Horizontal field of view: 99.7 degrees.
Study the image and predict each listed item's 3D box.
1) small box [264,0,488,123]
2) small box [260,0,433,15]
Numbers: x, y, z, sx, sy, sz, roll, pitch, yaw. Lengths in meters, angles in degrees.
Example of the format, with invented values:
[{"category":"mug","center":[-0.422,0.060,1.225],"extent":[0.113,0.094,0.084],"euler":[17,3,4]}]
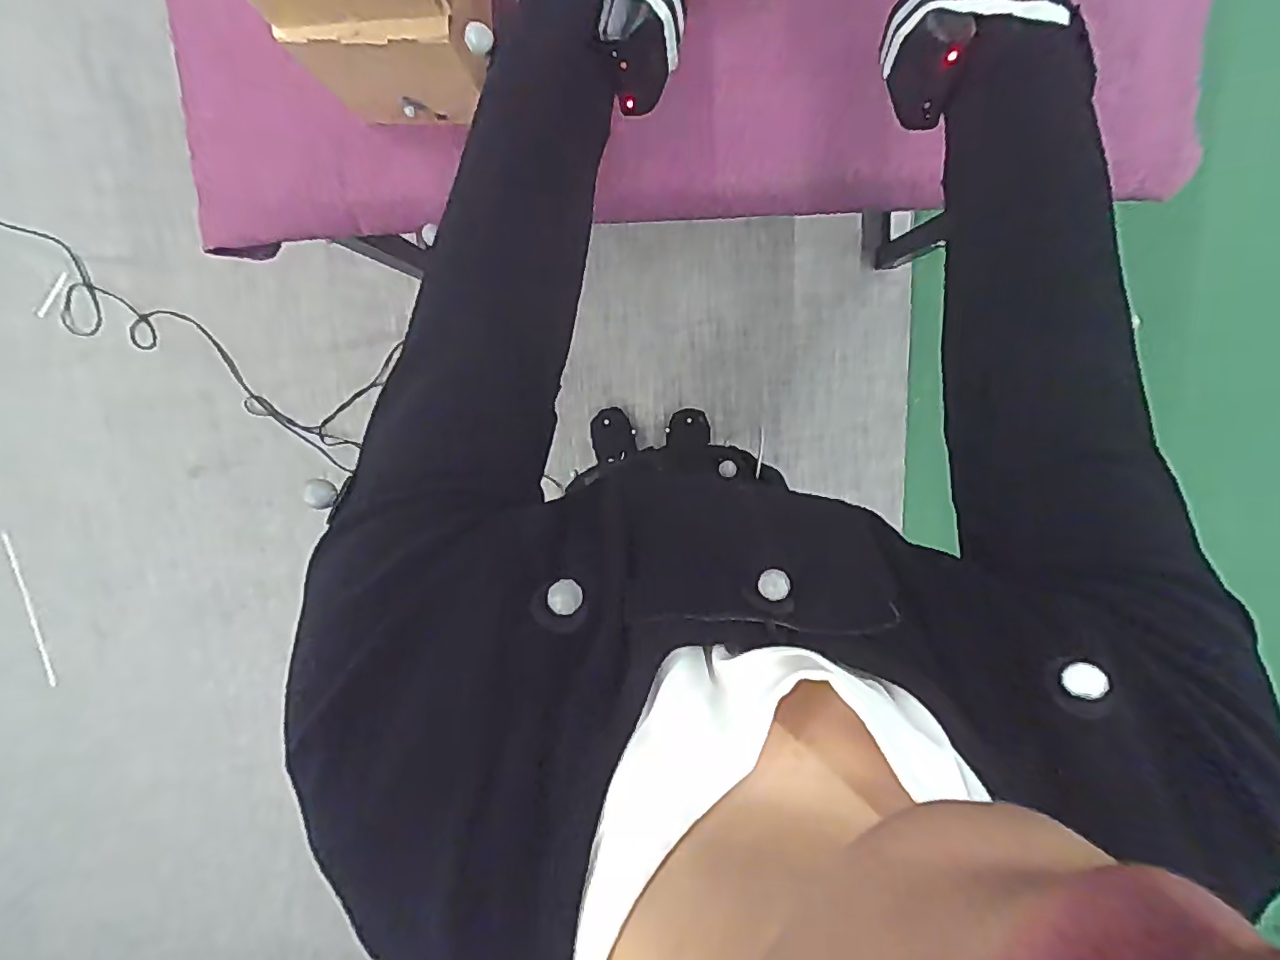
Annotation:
[{"category":"small box","center":[-0.262,-0.509,0.563],"extent":[0.168,0.176,0.179],"euler":[1,101,-1]},{"category":"small box","center":[-0.254,-0.490,0.401],"extent":[0.179,0.176,0.168],"euler":[-3,101,0]}]
